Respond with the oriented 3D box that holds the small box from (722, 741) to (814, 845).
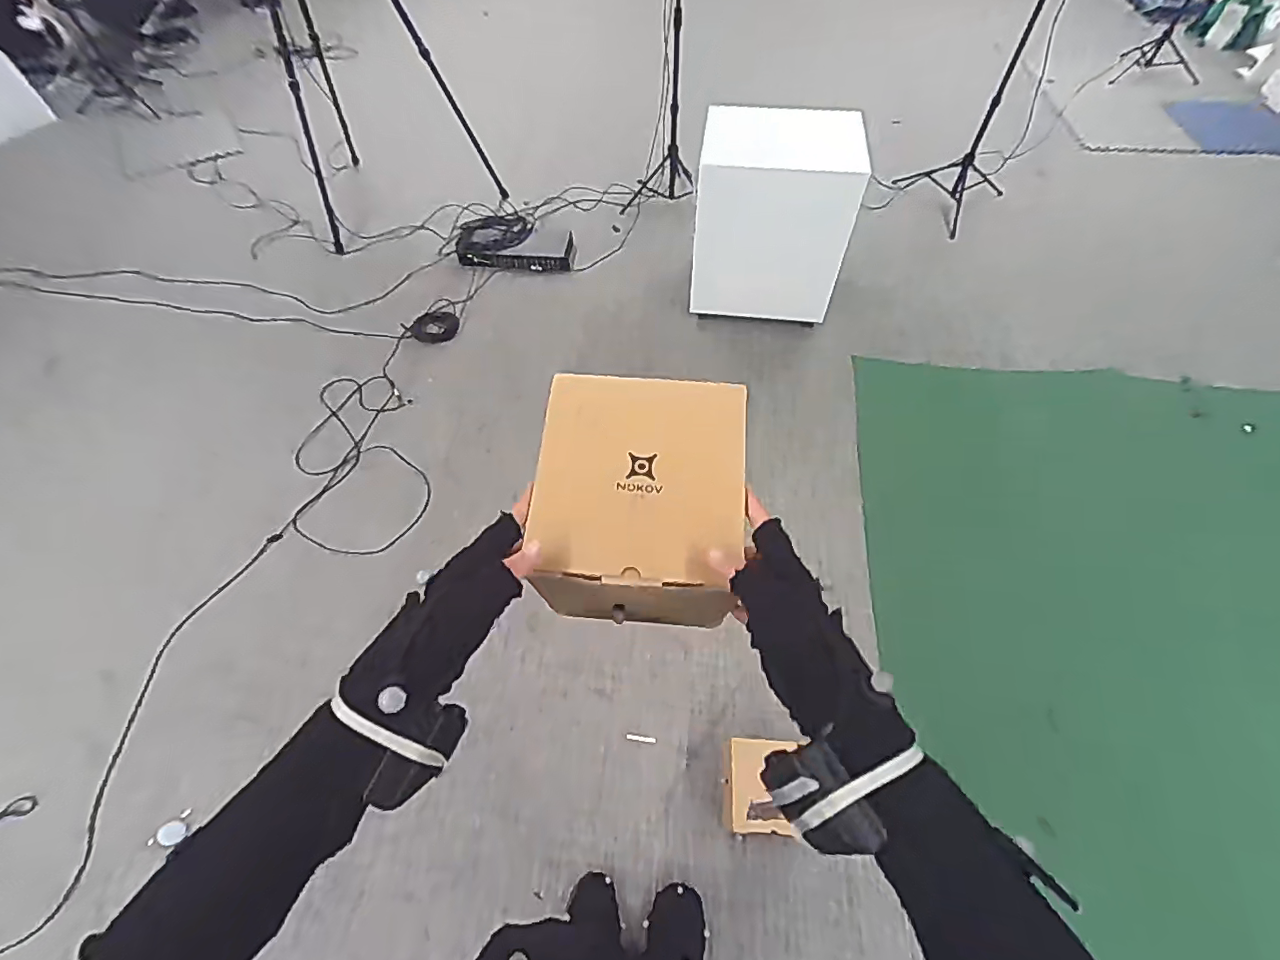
[{"bbox_3d":[0.272,0.684,1.178,0.168,0.176,0.179,3,56,3],"label":"small box"}]
